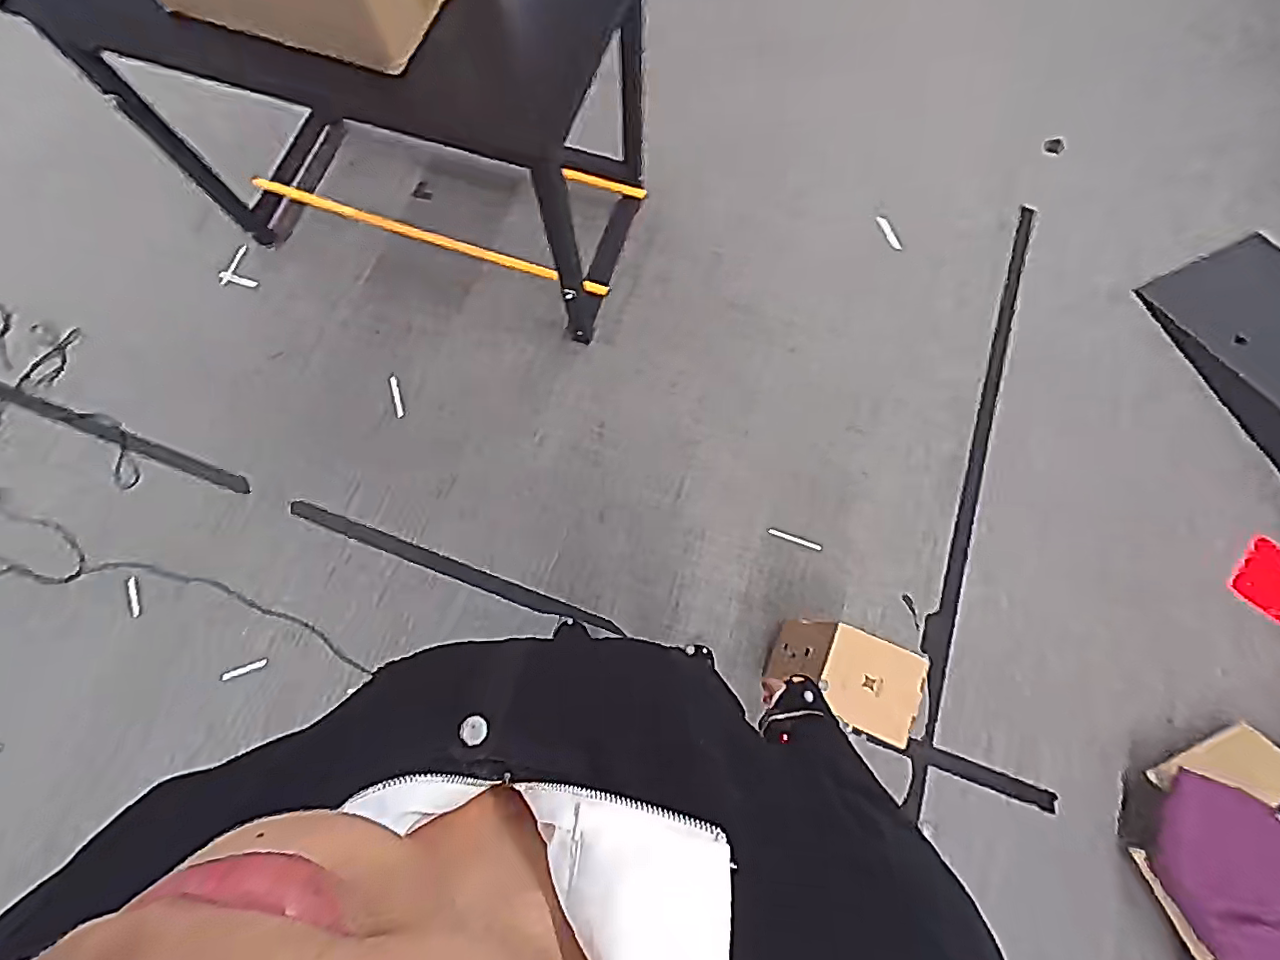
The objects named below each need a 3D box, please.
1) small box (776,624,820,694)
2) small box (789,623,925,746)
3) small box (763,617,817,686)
[{"bbox_3d":[0.431,0.432,1.219,0.179,0.176,0.168,22,77,6],"label":"small box"},{"bbox_3d":[0.417,0.389,1.062,0.179,0.176,0.168,22,76,7],"label":"small box"},{"bbox_3d":[0.430,0.464,1.381,0.168,0.176,0.179,23,78,6],"label":"small box"}]
